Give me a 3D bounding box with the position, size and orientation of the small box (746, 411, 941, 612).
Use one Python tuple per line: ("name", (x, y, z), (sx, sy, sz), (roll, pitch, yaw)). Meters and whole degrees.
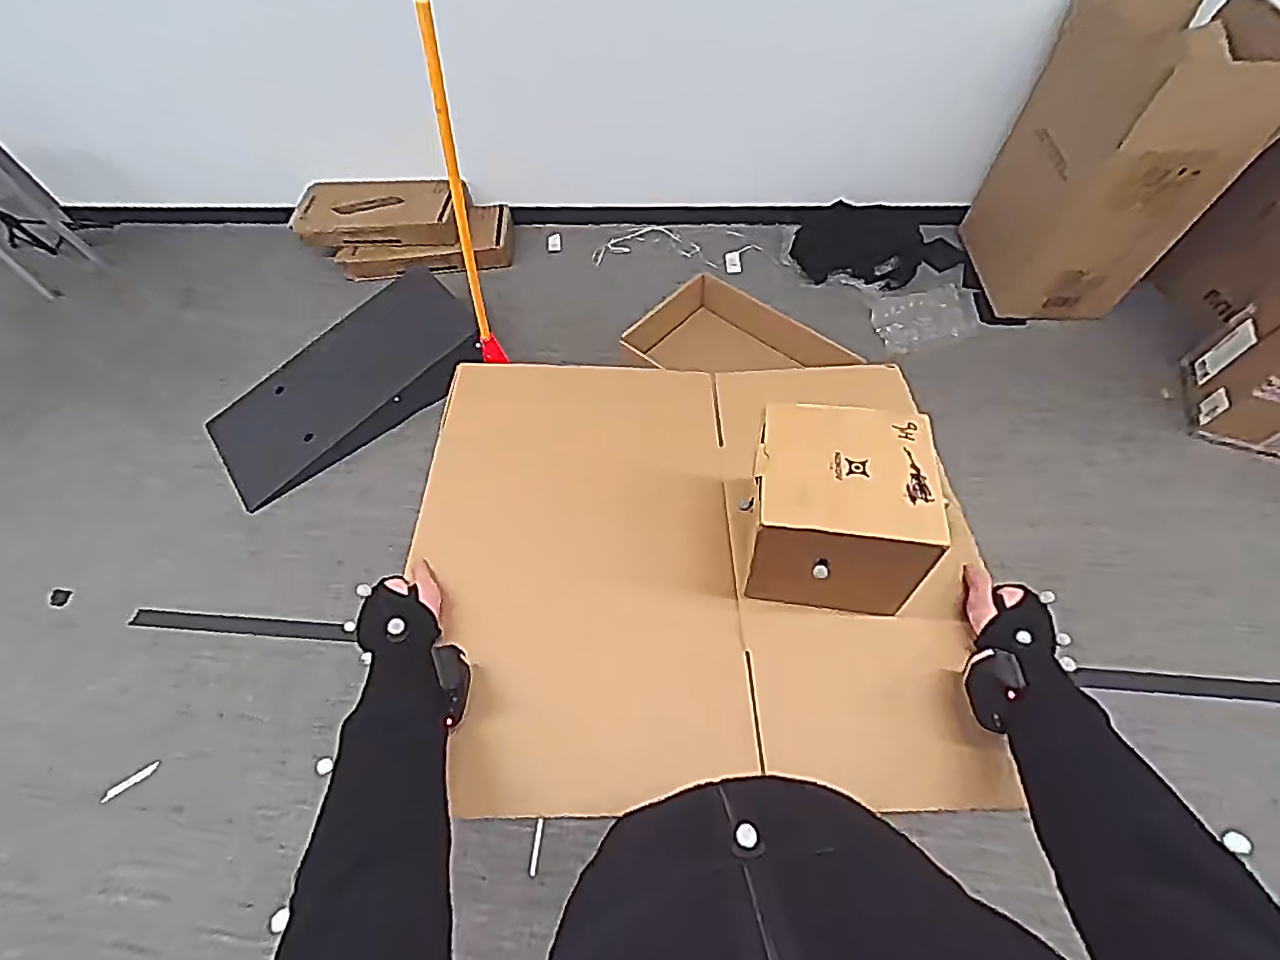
("small box", (0.217, 0.040, 0.625), (0.179, 0.176, 0.168), (5, 55, 10))
